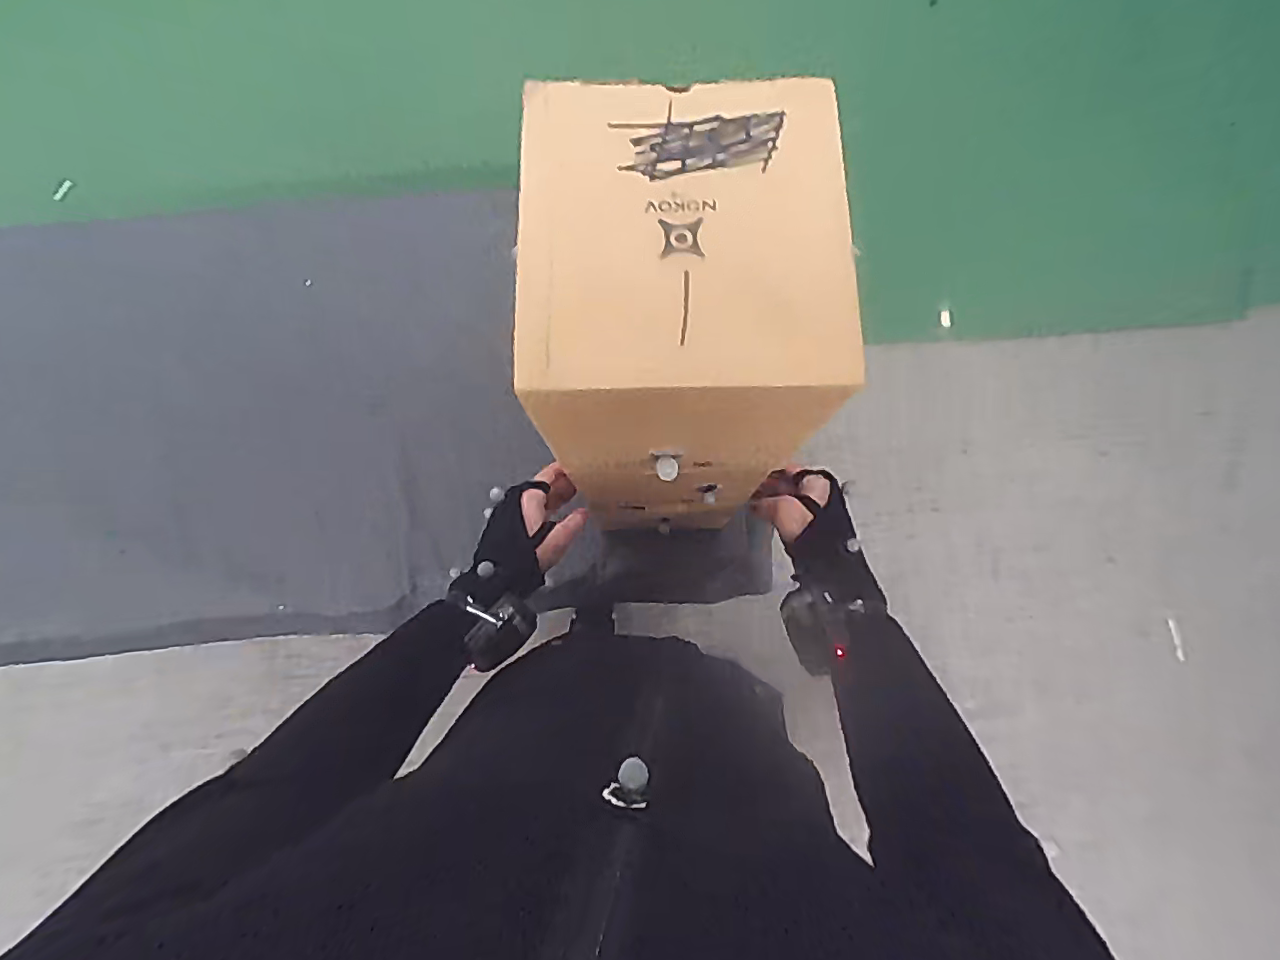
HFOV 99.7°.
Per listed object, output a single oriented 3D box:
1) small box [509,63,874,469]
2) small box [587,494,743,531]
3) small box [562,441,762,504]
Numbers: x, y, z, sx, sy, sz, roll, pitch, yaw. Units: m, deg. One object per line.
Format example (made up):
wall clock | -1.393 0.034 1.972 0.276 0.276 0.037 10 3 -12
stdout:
small box | 0.023 -0.113 0.338 0.168 0.176 0.179 -1 77 1
small box | 0.027 -0.033 0.655 0.168 0.176 0.179 -2 76 1
small box | 0.024 -0.075 0.498 0.168 0.176 0.179 -1 74 0
